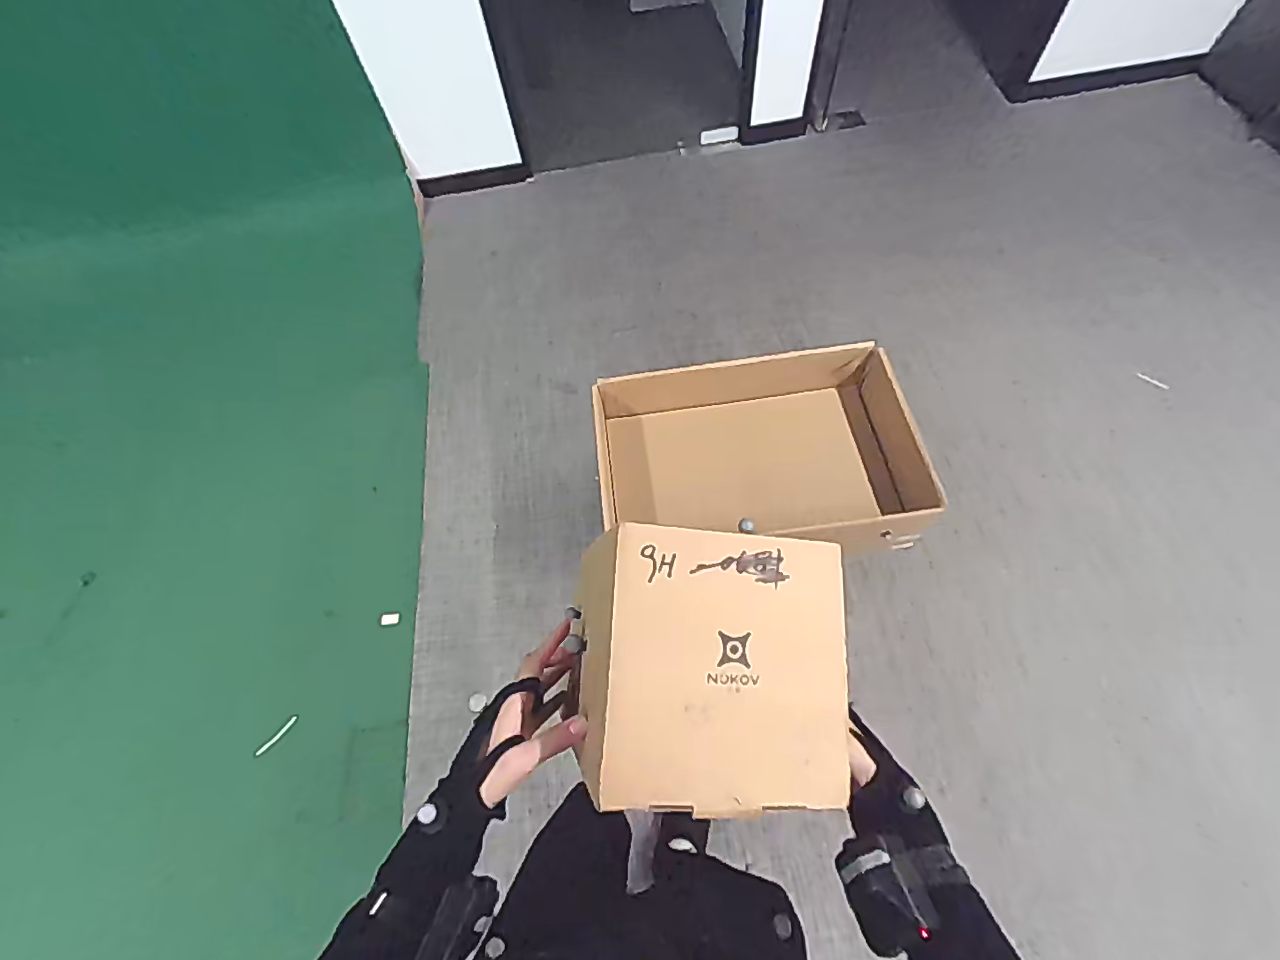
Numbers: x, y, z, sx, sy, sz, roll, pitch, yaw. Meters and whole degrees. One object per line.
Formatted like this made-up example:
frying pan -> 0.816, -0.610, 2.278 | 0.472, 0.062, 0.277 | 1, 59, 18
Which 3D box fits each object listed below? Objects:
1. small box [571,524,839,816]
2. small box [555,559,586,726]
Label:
small box -> 0.038, 0.138, 0.428 | 0.168, 0.176, 0.179 | 6, 76, -11
small box -> 0.006, 0.173, 0.586 | 0.168, 0.176, 0.179 | 13, 73, -8
